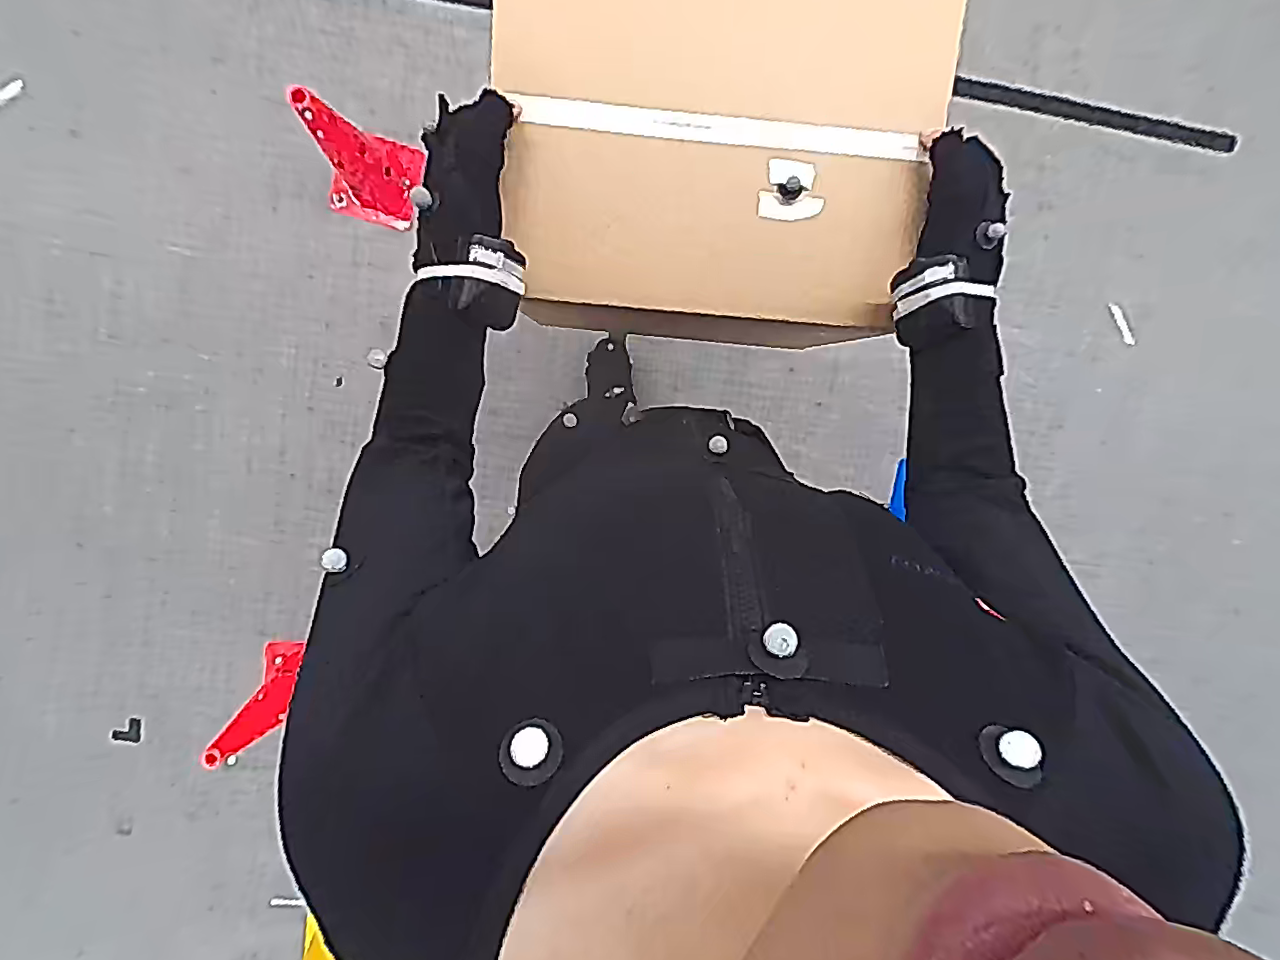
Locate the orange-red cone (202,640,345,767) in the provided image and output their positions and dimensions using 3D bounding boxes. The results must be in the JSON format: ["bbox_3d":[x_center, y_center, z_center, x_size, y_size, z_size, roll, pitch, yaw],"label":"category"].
[{"bbox_3d":[-0.885,0.552,1.279,0.198,0.360,0.199,5,97,-4],"label":"orange-red cone"}]

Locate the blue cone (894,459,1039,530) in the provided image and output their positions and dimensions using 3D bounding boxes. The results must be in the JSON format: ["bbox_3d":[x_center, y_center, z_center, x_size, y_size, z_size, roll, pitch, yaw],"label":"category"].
[{"bbox_3d":[0.833,0.059,1.367,0.192,0.380,0.193,11,96,-6],"label":"blue cone"}]

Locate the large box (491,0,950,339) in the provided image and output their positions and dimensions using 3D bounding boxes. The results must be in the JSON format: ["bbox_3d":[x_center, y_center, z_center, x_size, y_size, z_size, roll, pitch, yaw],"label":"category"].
[{"bbox_3d":[0.060,-0.346,0.630,0.408,0.320,0.320,4,101,-4],"label":"large box"}]

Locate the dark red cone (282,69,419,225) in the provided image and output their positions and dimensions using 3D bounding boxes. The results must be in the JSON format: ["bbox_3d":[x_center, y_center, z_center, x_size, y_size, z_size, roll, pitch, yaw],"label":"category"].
[{"bbox_3d":[-0.629,-0.715,1.135,0.201,0.394,0.202,13,95,-7],"label":"dark red cone"}]
